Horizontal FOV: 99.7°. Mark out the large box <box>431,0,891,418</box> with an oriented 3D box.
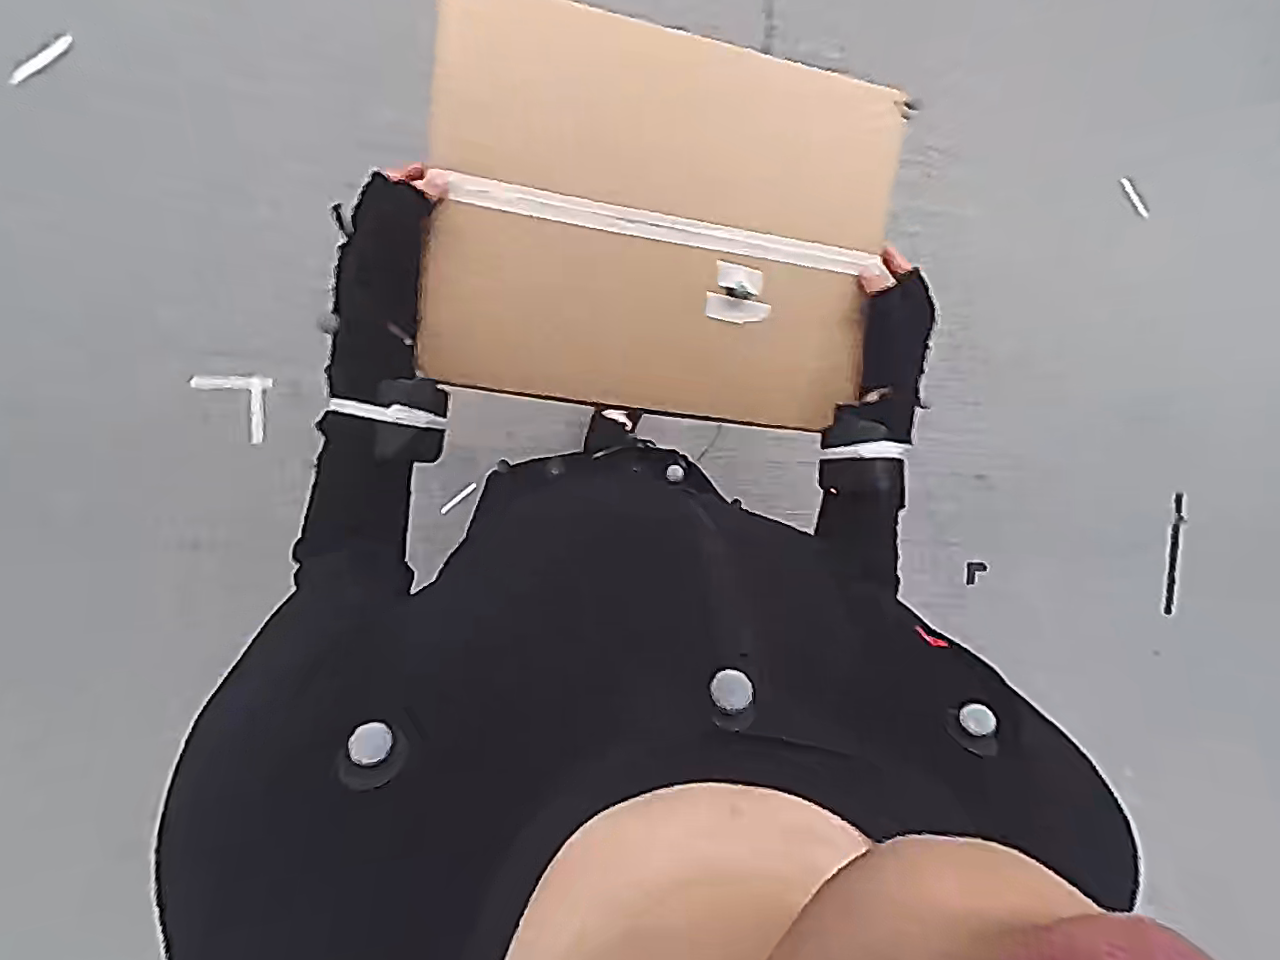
[{"bbox_3d":[-0.003,-0.249,0.628,0.408,0.320,0.320,6,98,-13],"label":"large box"}]
